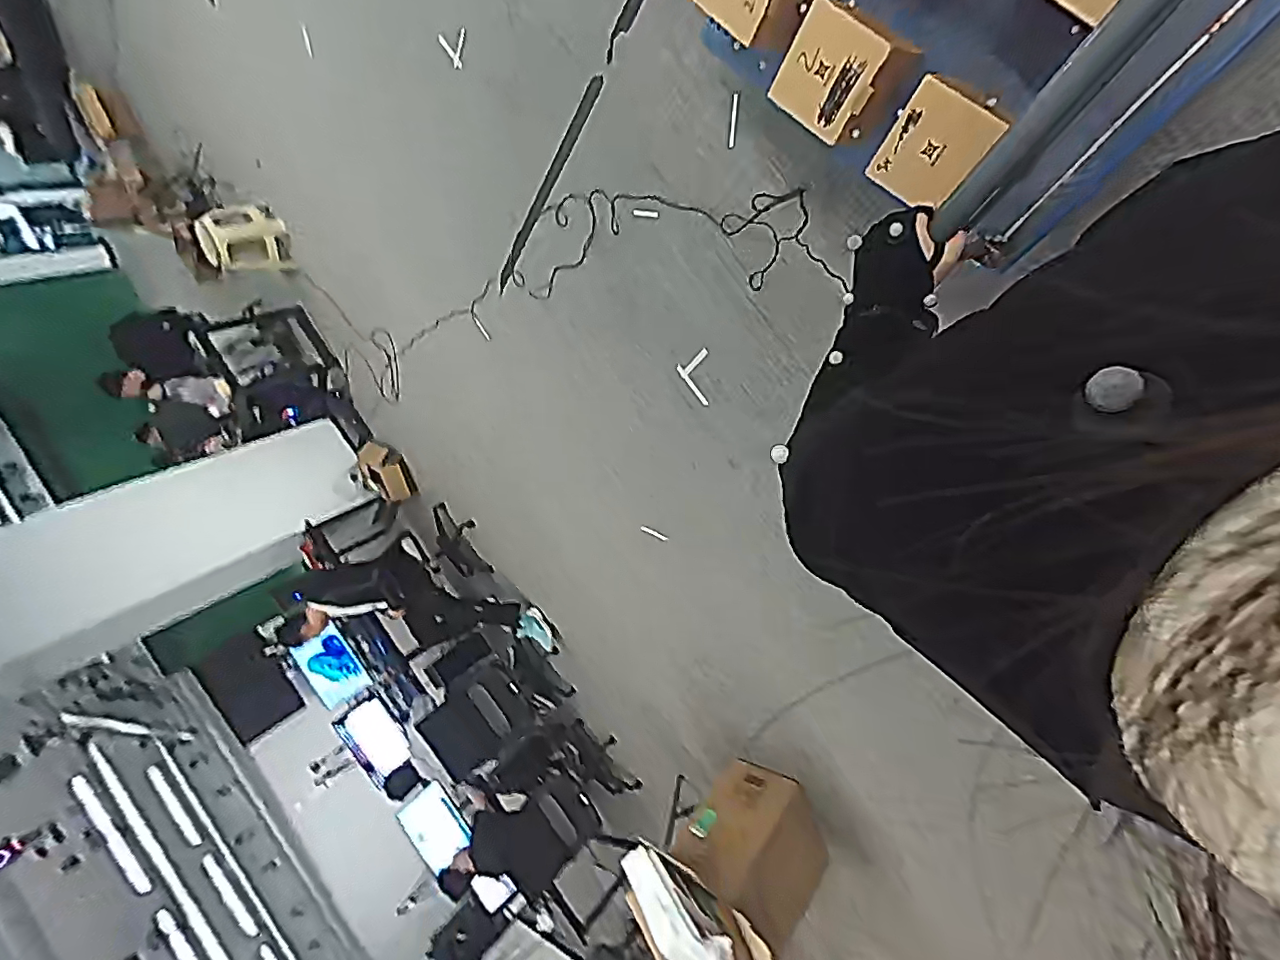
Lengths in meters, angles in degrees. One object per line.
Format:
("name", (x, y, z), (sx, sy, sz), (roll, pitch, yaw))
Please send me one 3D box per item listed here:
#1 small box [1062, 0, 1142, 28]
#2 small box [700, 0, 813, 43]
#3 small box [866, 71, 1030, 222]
("small box", (0.660, -0.764, 0.745), (0.179, 0.176, 0.168), (48, 140, 11))
("small box", (0.232, -0.974, 1.034), (0.179, 0.176, 0.168), (48, 140, 9))
("small box", (0.553, -0.597, 0.968), (0.179, 0.176, 0.168), (45, 139, 13))
